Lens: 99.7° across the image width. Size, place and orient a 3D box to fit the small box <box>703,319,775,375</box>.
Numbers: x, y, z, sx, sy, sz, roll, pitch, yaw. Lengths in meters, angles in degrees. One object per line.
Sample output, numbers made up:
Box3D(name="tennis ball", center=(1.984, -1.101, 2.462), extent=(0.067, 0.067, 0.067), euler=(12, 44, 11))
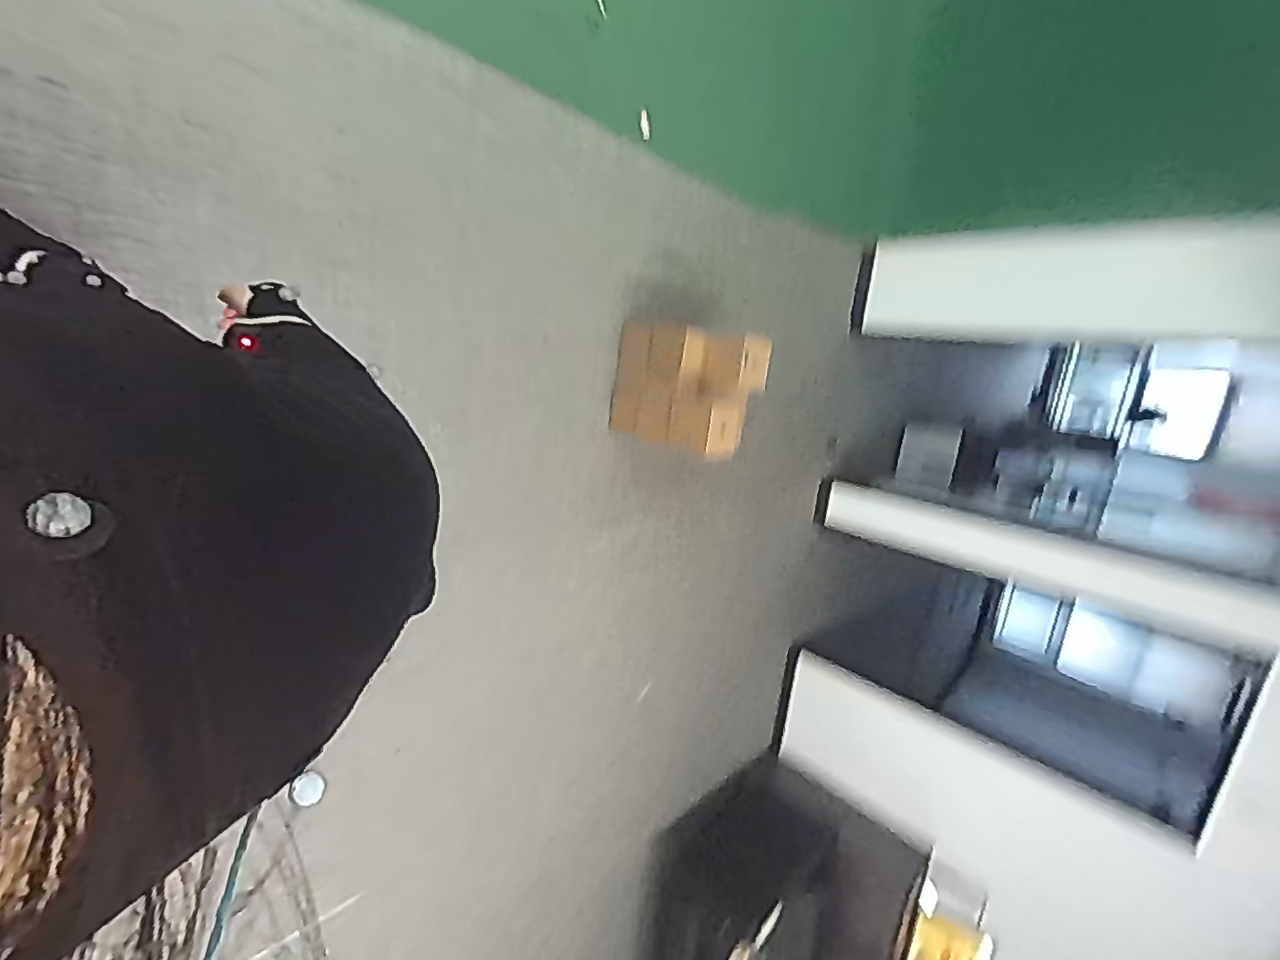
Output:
Box3D(name="small box", center=(0.343, -0.464, 1.881), extent=(0.179, 0.176, 0.168), euler=(-7, 108, -47))

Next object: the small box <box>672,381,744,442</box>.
Box3D(name="small box", center=(0.228, -0.235, 1.839), extent=(0.168, 0.176, 0.179), euler=(-9, 110, -46))
